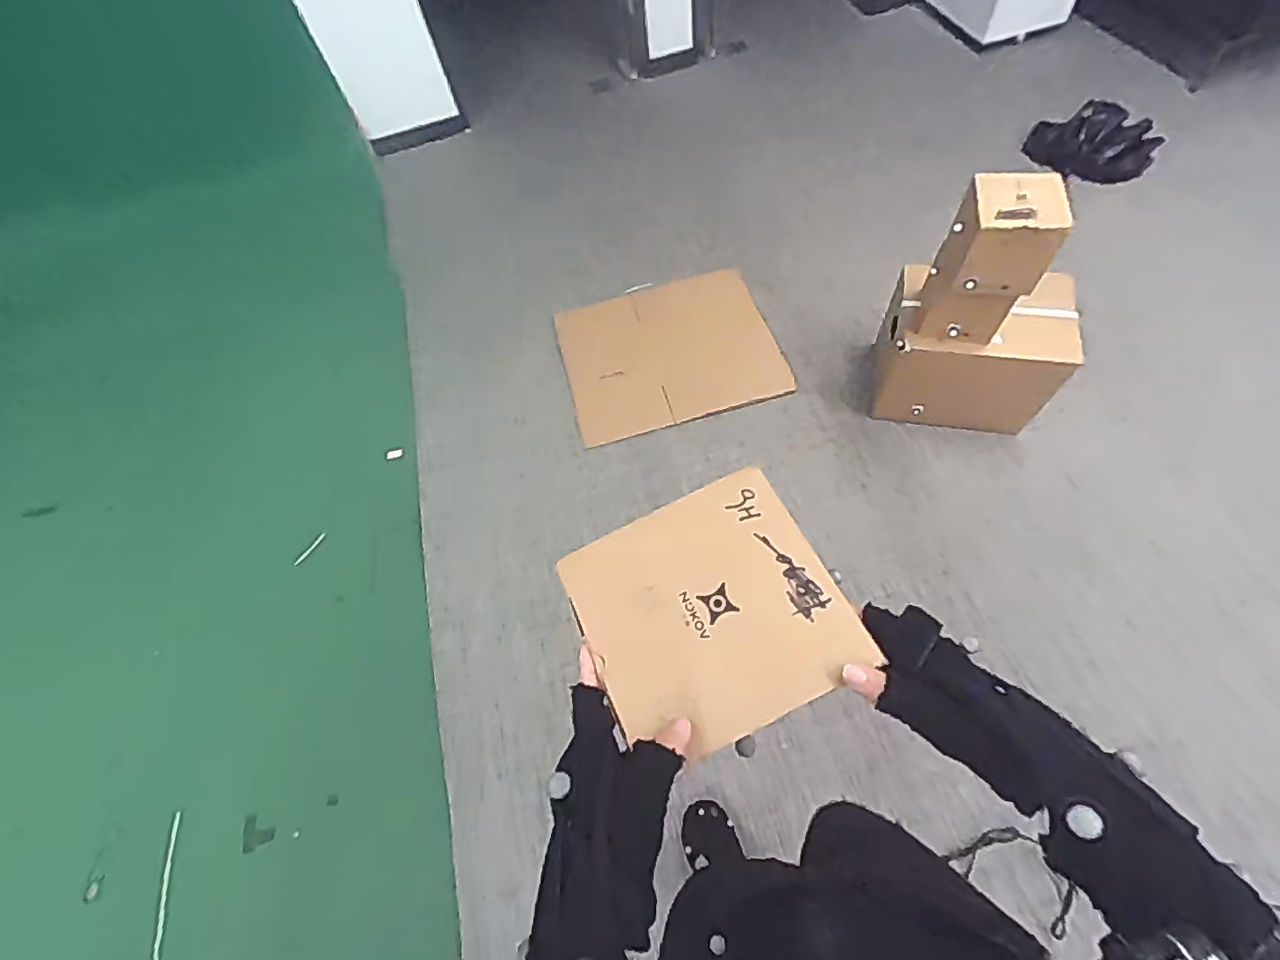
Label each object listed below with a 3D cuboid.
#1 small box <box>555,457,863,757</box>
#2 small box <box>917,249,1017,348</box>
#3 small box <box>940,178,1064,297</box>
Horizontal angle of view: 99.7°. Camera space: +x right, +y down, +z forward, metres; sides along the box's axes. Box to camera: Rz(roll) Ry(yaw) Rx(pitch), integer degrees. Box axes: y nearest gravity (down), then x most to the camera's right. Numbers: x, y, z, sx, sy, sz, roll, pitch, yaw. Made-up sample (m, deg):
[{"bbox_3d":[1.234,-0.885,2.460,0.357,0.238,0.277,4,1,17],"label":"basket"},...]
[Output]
[{"bbox_3d":[0.055,0.118,0.463,0.179,0.176,0.168,-27,61,-5],"label":"small box"},{"bbox_3d":[0.790,-0.451,1.318,0.168,0.176,0.179,11,65,14],"label":"small box"},{"bbox_3d":[0.769,-0.516,1.168,0.168,0.176,0.179,4,64,11],"label":"small box"}]
